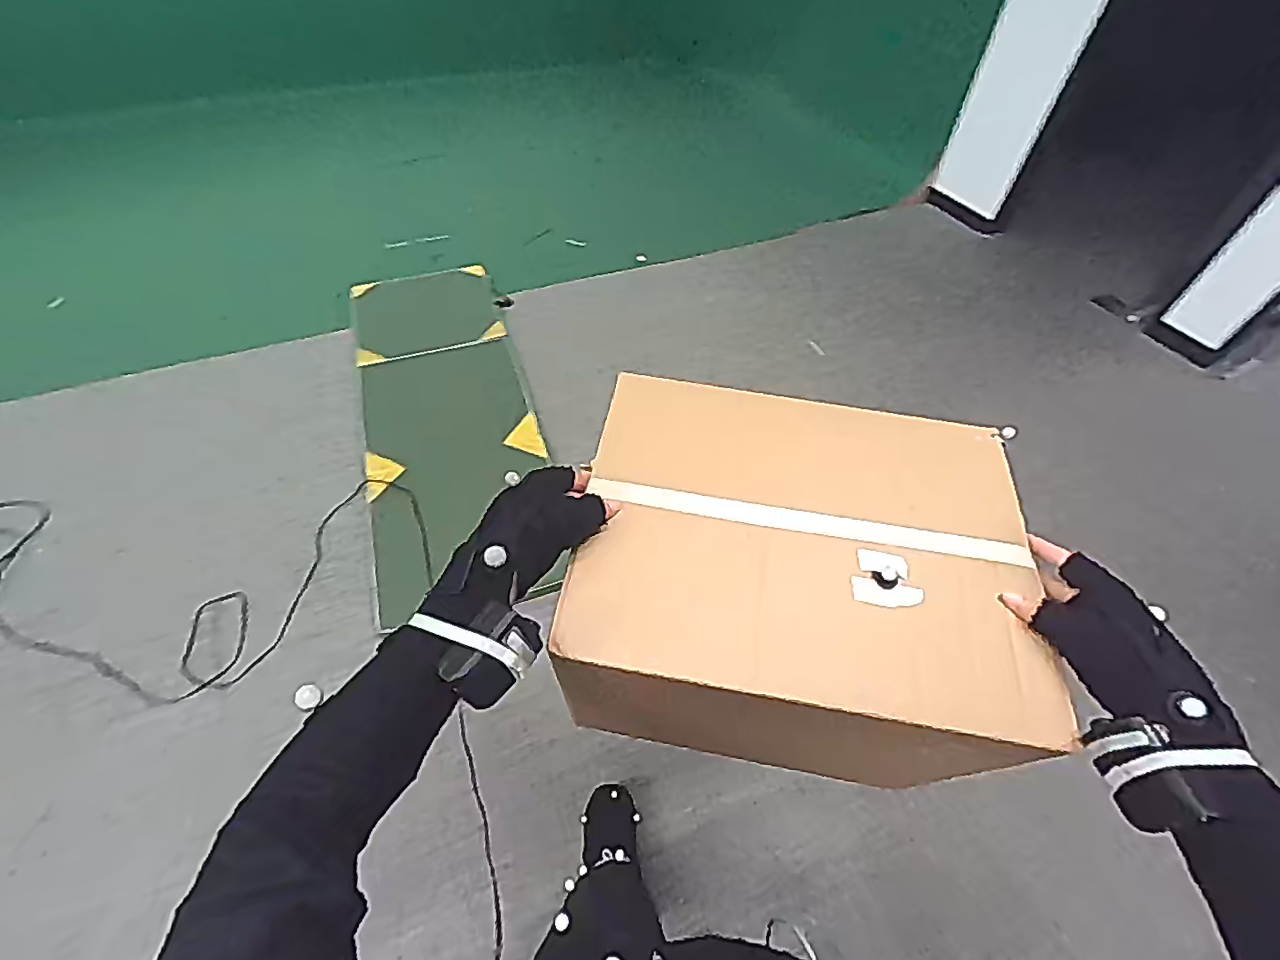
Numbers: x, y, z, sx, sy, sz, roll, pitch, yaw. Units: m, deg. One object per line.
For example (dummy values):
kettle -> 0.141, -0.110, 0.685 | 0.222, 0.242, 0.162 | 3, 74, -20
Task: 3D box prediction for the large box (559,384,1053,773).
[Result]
large box -> 0.139, 0.126, 0.633 | 0.408, 0.320, 0.320 | 9, 57, 2
